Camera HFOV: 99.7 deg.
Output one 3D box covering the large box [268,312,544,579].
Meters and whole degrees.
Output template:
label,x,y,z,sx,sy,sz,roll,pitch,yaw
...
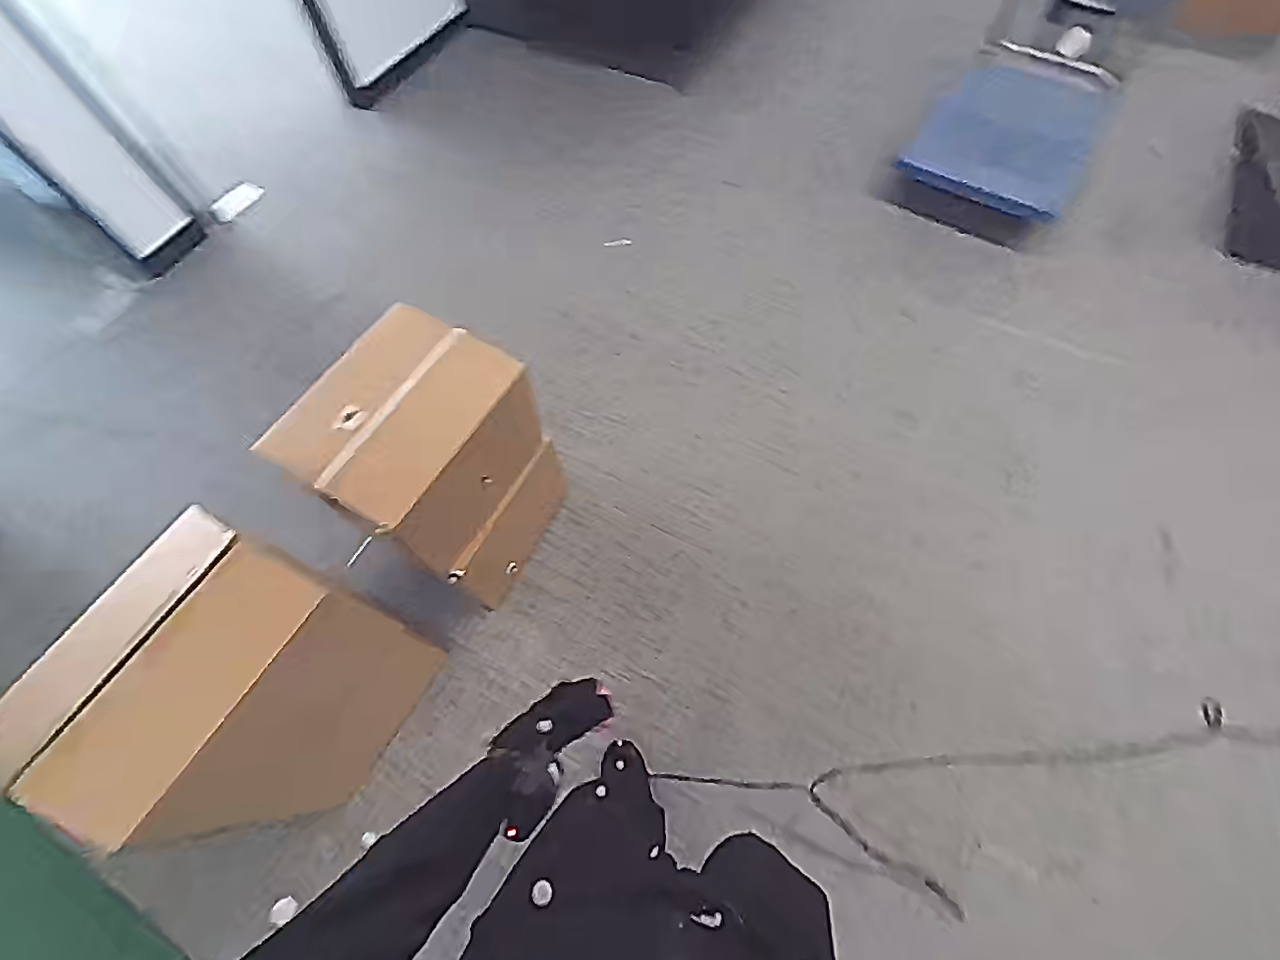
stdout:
label,x,y,z,sx,sy,sz,roll,pitch,yaw
large box,-0.450,-0.064,1.152,0.320,0.320,0.408,28,68,11
